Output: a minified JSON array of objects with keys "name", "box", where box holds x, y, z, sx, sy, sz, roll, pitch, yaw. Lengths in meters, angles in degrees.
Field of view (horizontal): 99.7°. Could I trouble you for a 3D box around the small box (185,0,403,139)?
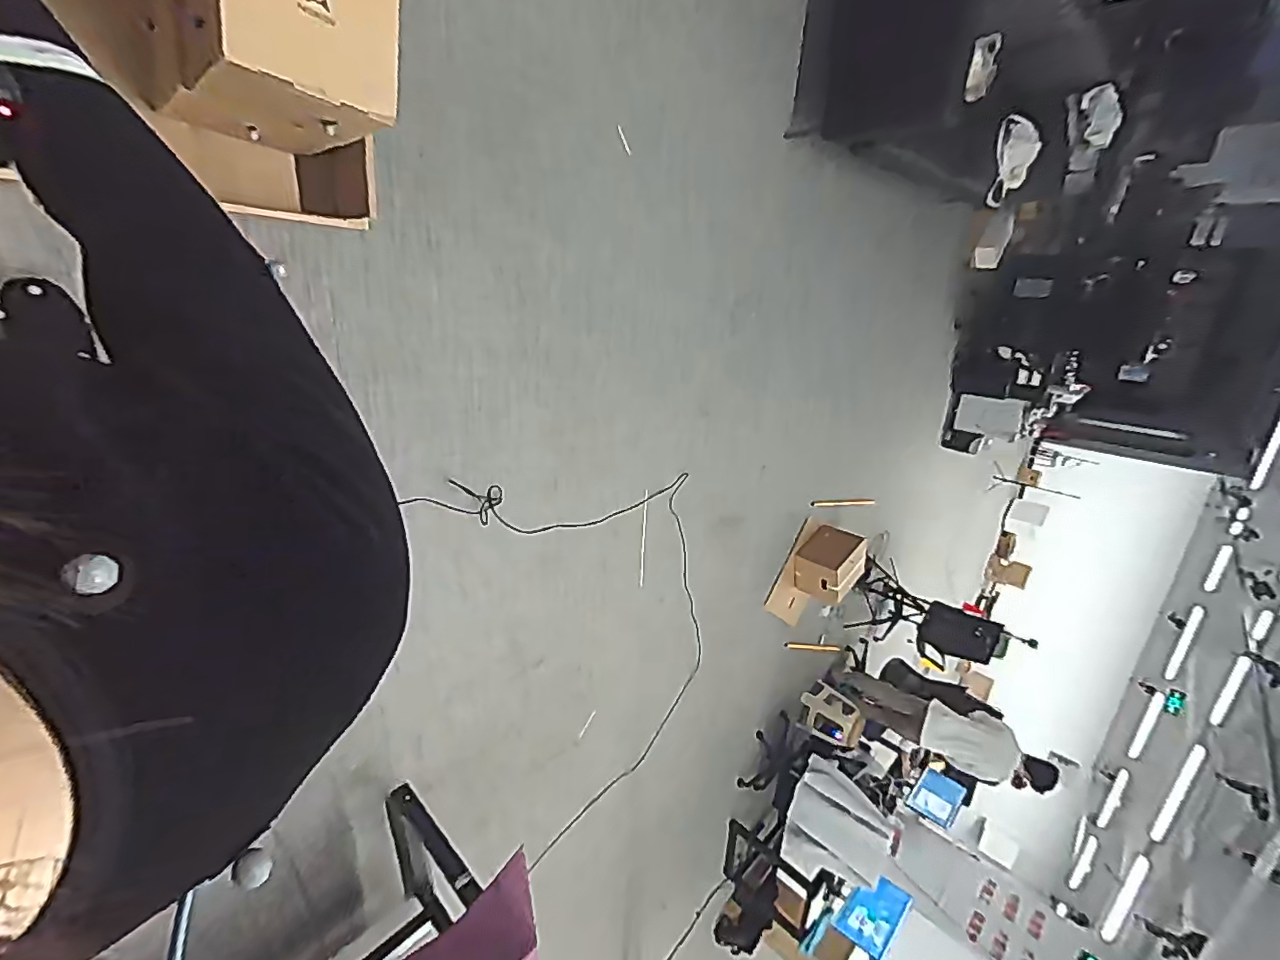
[{"name":"small box","box":[-0.380,-0.505,0.595,0.168,0.176,0.179,-7,110,-47]}]
